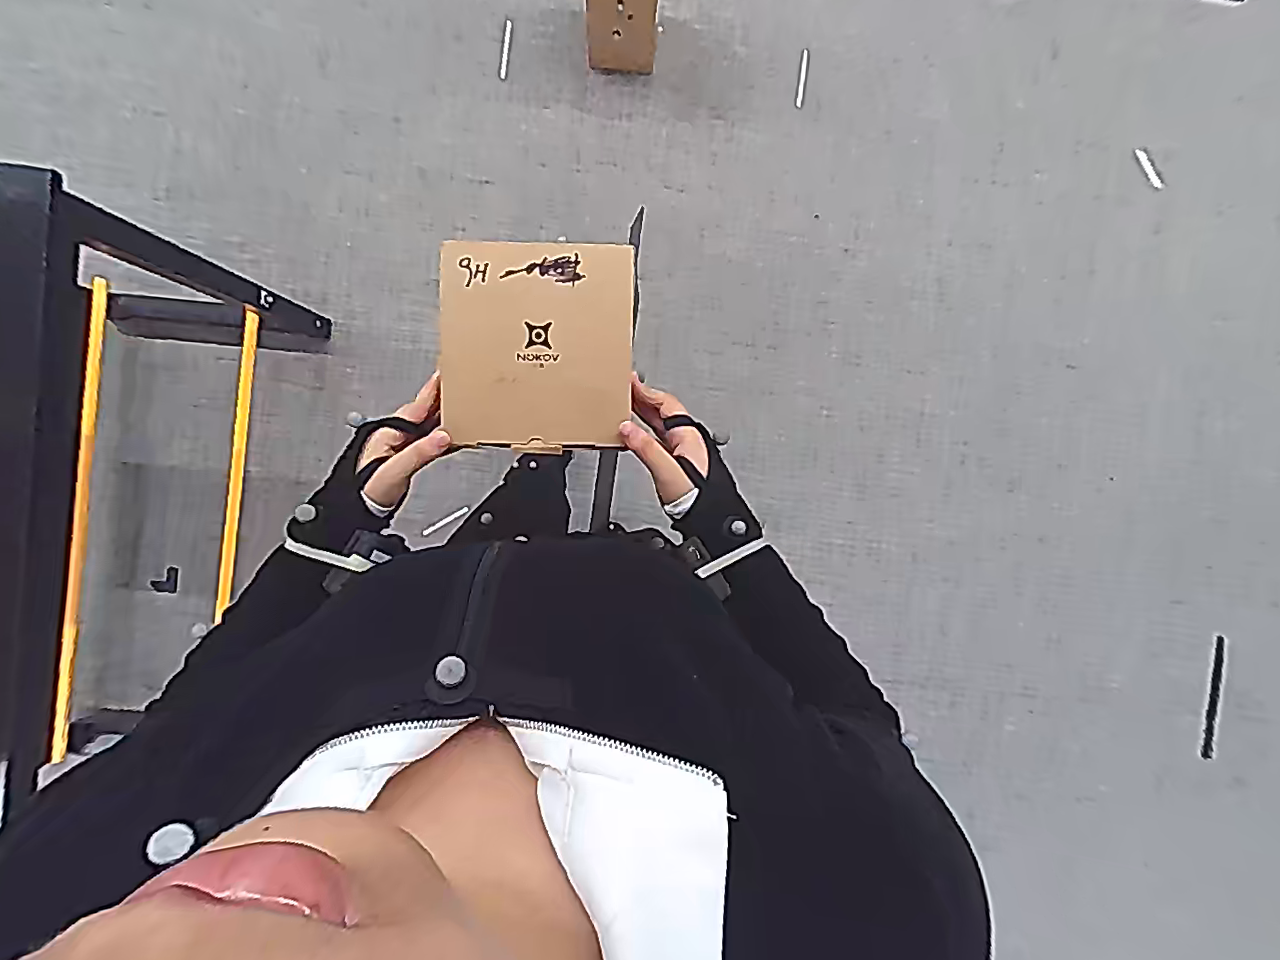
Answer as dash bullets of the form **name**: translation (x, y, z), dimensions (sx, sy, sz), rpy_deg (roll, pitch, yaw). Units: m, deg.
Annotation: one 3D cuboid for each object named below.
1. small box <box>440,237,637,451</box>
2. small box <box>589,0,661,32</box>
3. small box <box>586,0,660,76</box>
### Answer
- **small box**: translation (-0.087, -0.120, 0.536), dimensions (0.168, 0.176, 0.179), rpy_deg (1, 94, -1)
- **small box**: translation (-0.027, -1.160, 1.202), dimensions (0.168, 0.176, 0.179), rpy_deg (7, 92, -3)
- **small box**: translation (-0.040, -1.165, 1.366), dimensions (0.179, 0.176, 0.168), rpy_deg (3, 92, -3)
